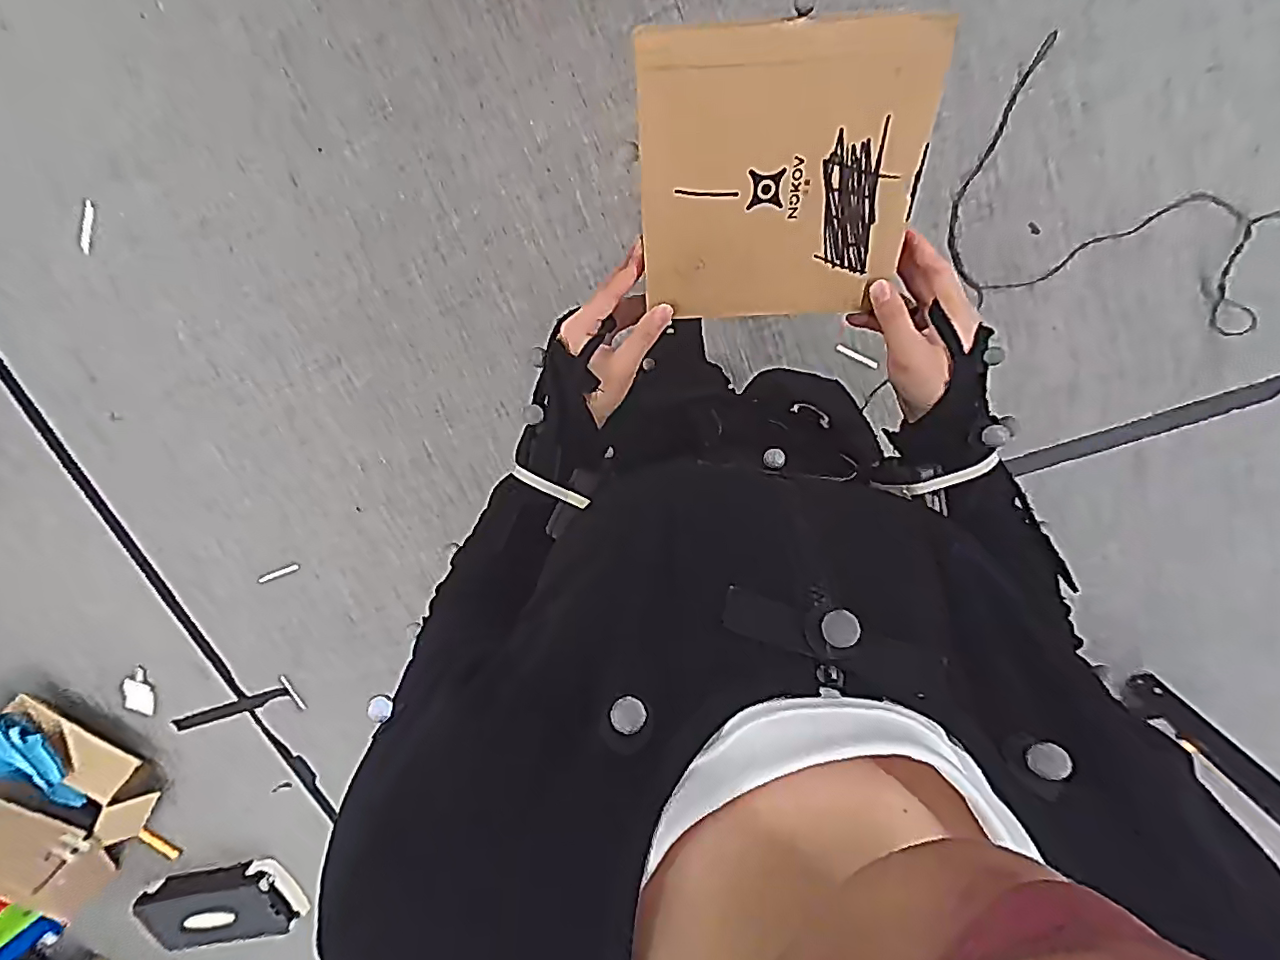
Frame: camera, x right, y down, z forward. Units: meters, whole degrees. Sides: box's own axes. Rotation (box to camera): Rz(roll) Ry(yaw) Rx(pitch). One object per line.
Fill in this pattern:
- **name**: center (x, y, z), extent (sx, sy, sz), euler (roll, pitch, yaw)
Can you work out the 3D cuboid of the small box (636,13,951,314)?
- **small box**: center (0.087, -0.240, 0.407), extent (0.179, 0.176, 0.168), euler (-1, 130, 3)
